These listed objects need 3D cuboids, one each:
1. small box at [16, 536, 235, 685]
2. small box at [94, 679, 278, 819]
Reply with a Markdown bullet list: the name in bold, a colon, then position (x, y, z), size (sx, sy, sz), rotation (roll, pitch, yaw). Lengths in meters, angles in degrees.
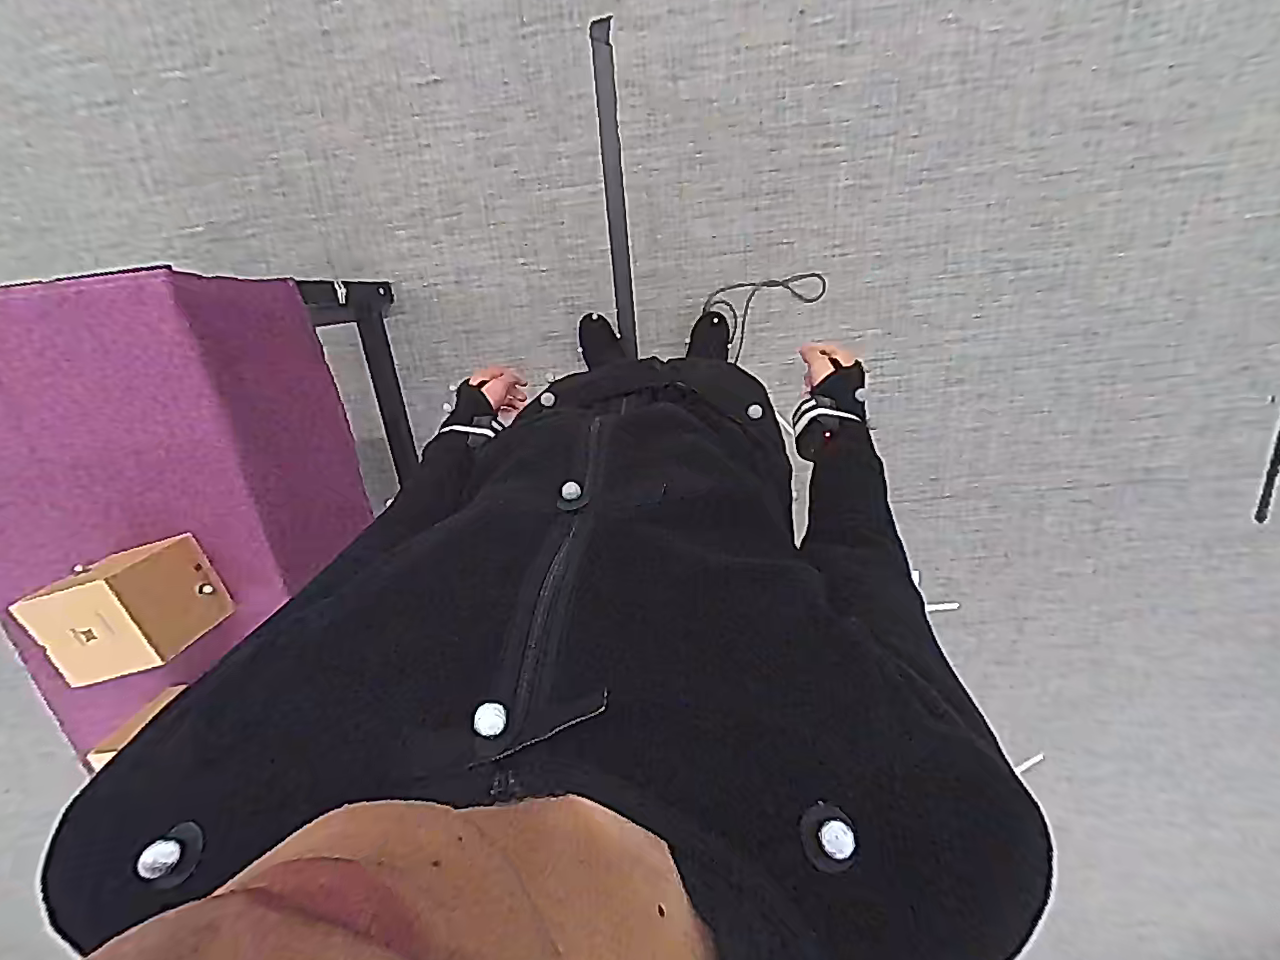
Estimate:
- **small box**: position (-0.862, 0.216, 0.926), size (0.179, 0.176, 0.168), rotation (-15, 109, 8)
- **small box**: position (-0.848, 0.504, 1.030), size (0.179, 0.176, 0.168), rotation (-9, 110, 5)
